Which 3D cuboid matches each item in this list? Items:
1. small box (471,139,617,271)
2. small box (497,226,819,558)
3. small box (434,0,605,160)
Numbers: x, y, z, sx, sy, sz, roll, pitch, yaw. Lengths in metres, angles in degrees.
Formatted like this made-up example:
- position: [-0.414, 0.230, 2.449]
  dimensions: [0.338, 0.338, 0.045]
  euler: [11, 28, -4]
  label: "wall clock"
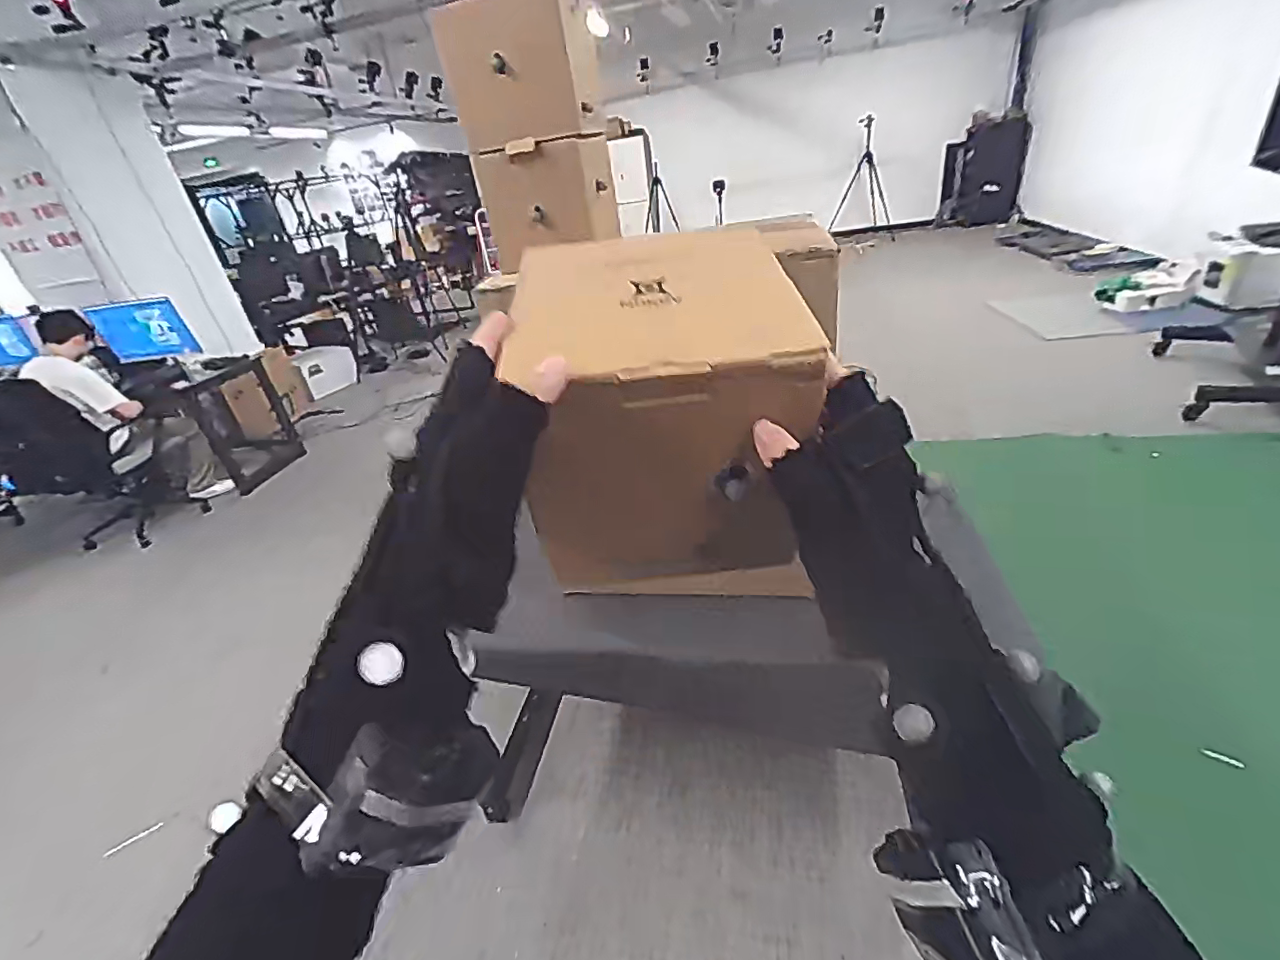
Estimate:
- position: [-0.139, -0.442, 0.871]
  dimensions: [0.168, 0.176, 0.179]
  euler: [-1, 34, 13]
  label: "small box"
- position: [0.009, -0.058, 0.381]
  dimensions: [0.168, 0.176, 0.179]
  euler: [-4, 43, -1]
  label: "small box"
- position: [-0.158, -0.564, 0.789]
  dimensions: [0.179, 0.176, 0.168]
  euler: [-2, 32, 13]
  label: "small box"
